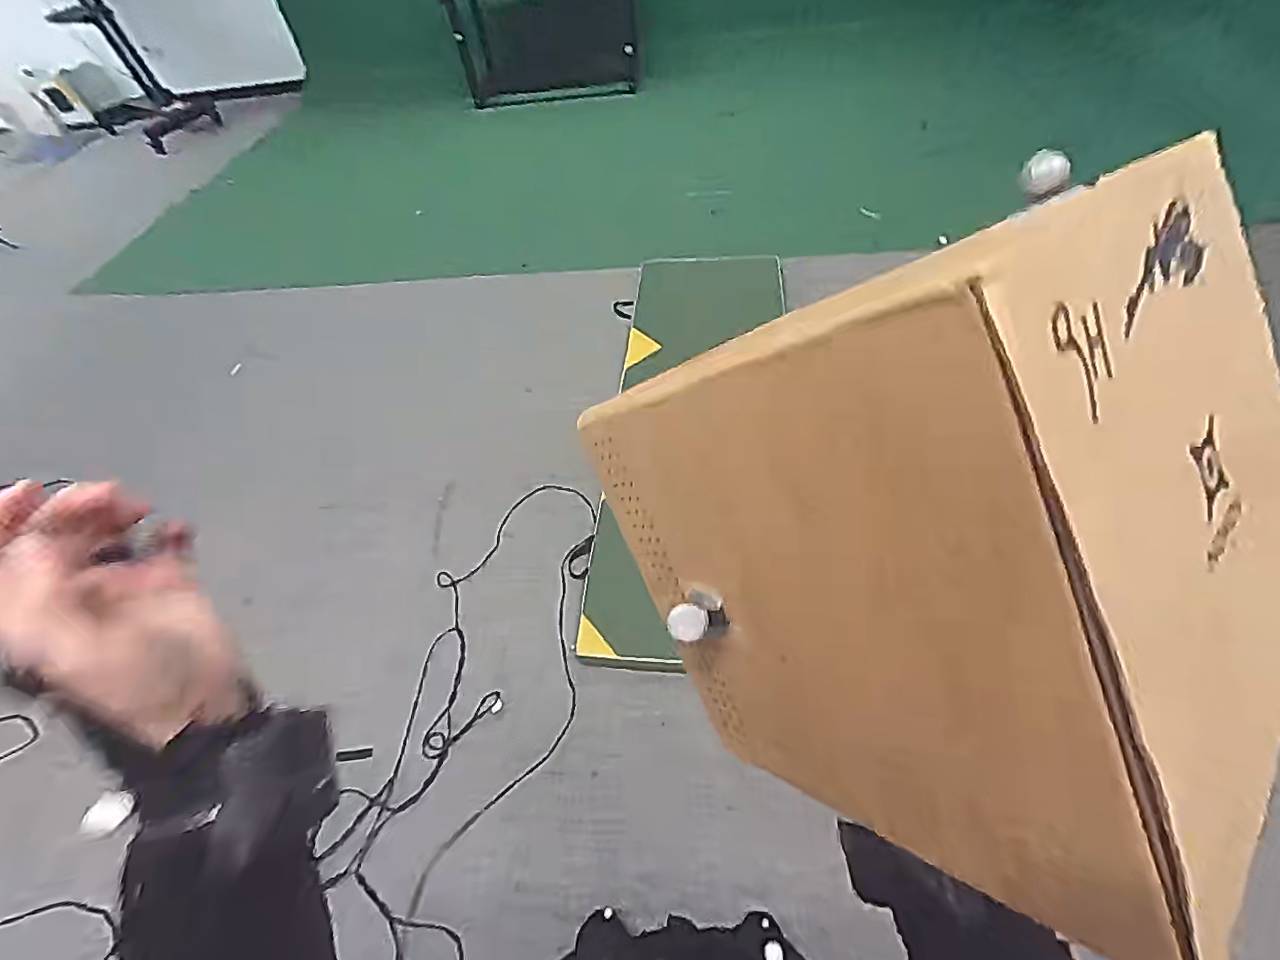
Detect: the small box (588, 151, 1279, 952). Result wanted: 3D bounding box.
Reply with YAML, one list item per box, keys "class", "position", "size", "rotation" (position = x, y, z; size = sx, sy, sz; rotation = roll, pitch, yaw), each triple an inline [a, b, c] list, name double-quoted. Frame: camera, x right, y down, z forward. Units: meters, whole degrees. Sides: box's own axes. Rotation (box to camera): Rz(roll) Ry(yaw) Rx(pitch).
- class: "small box"
  position: [0.109, 0.008, 0.221]
  size: [0.168, 0.179, 0.176]
  rotation: [-31, 13, -31]
